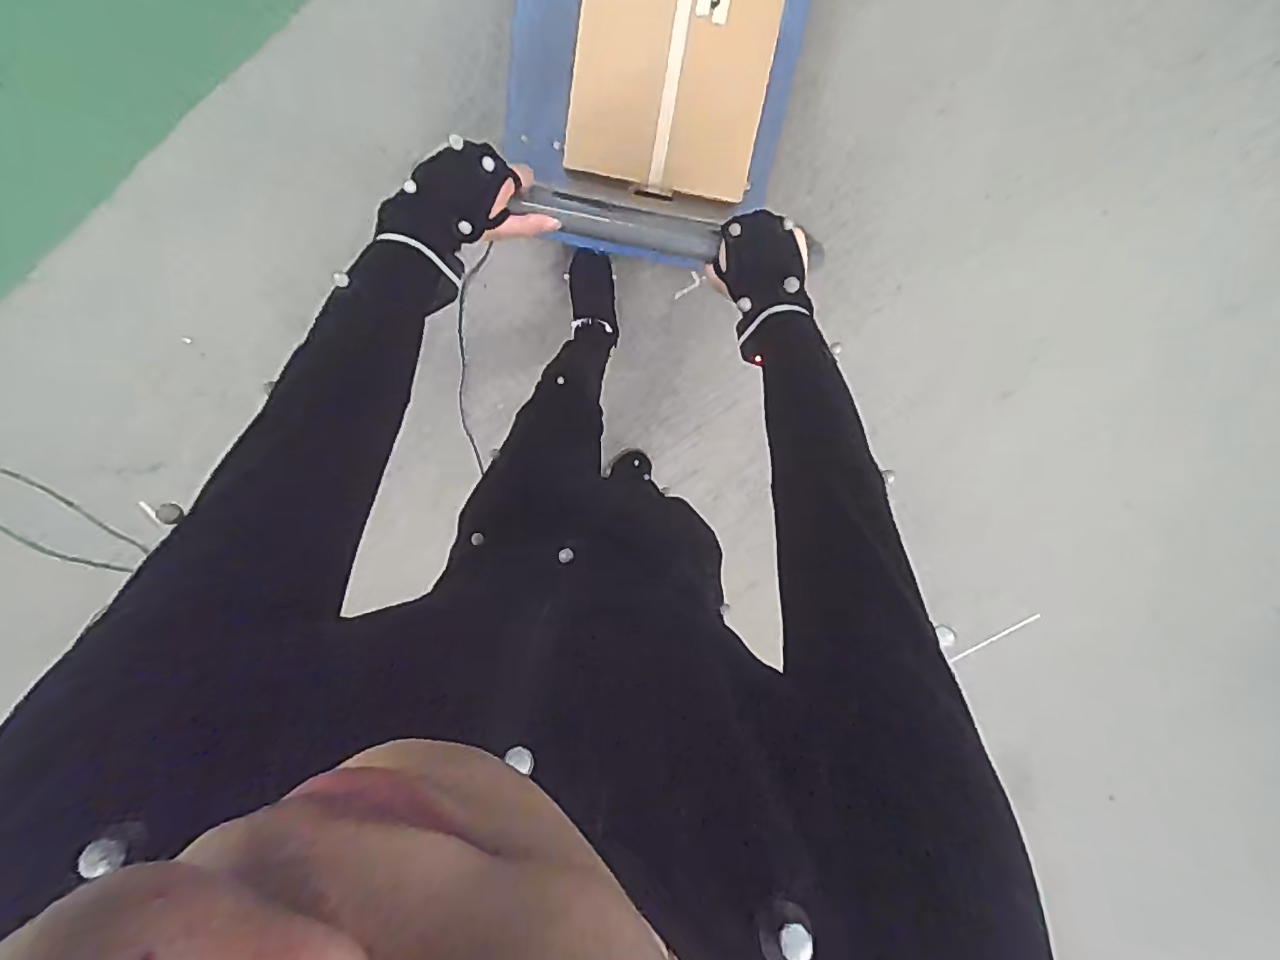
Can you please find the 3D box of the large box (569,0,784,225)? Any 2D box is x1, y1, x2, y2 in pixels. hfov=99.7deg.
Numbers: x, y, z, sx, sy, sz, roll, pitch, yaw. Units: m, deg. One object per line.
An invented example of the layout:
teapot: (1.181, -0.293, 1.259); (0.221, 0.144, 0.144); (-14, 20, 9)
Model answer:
large box: (0.058, -0.739, 1.023); (0.320, 0.320, 0.408); (9, 108, -5)
